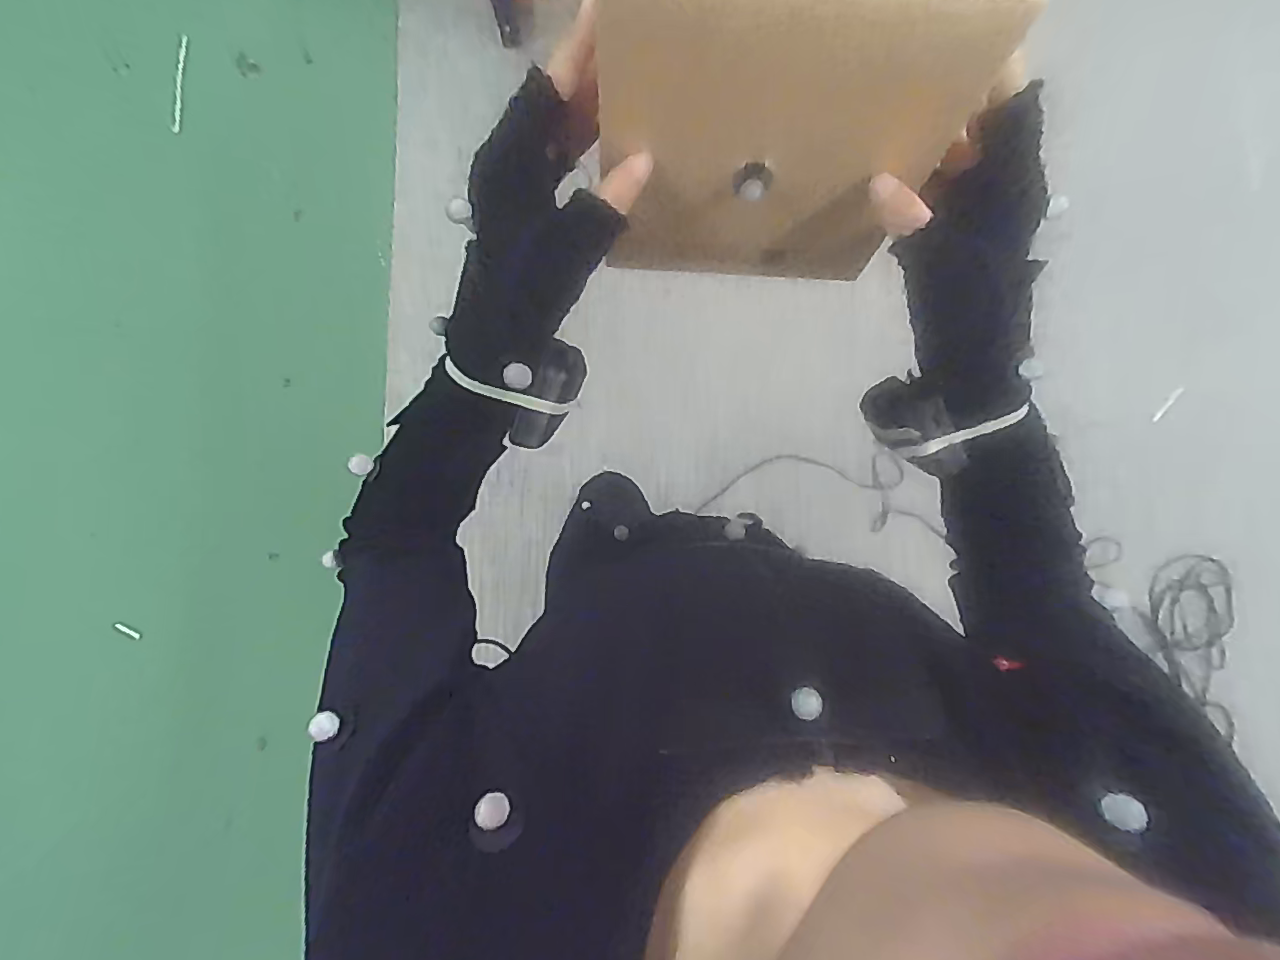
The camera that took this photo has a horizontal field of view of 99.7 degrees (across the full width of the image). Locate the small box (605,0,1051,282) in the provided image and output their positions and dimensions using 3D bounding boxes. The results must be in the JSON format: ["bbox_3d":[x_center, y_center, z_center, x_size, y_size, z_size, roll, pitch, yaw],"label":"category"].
[{"bbox_3d":[0.070,-0.231,0.294,0.168,0.176,0.179,3,74,-2],"label":"small box"}]
